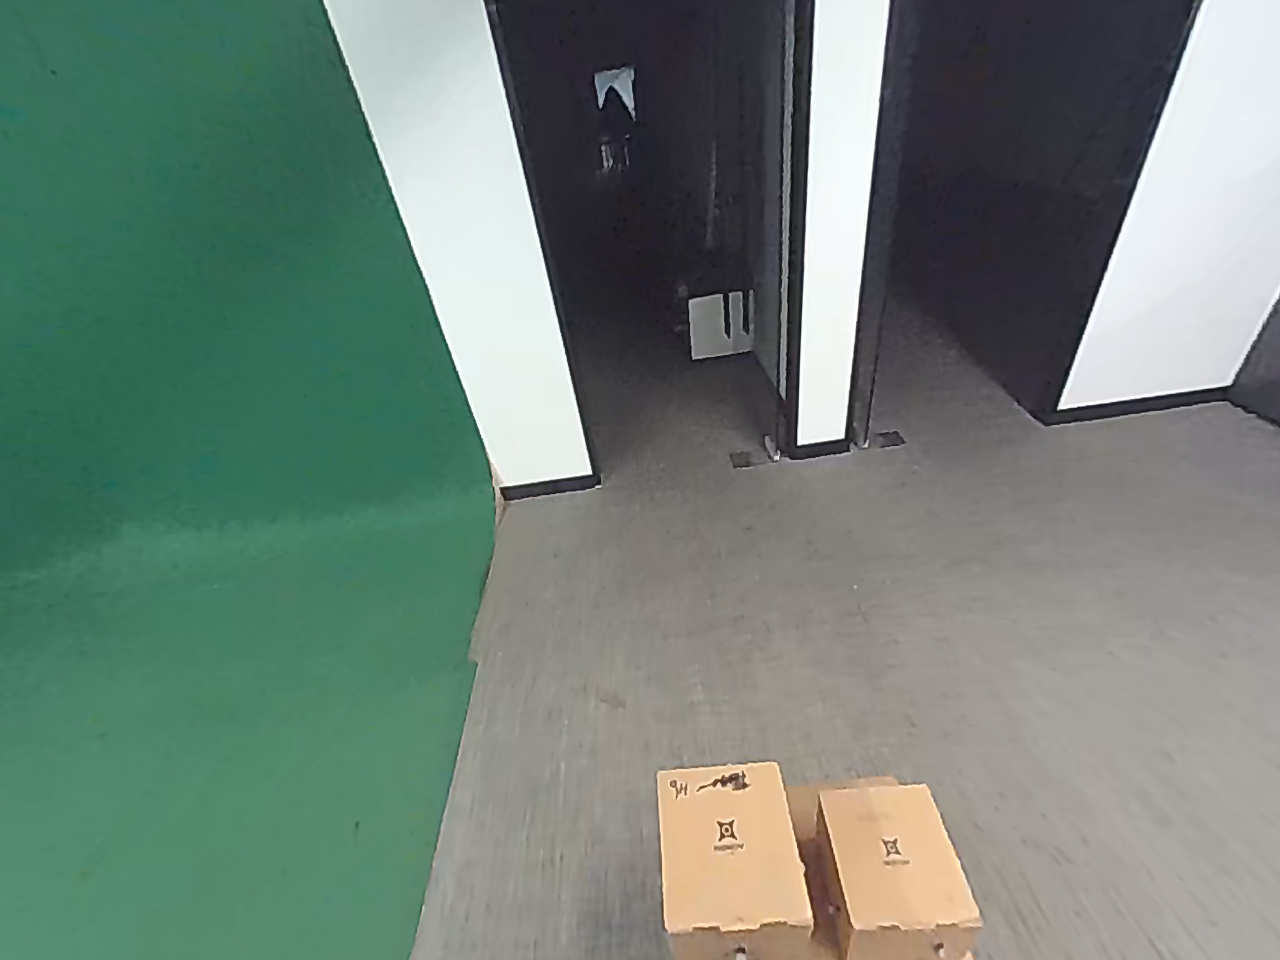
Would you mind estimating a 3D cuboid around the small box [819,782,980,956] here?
[{"bbox_3d":[0.371,0.583,0.808,0.168,0.176,0.179,-7,35,6],"label":"small box"}]

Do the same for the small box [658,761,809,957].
[{"bbox_3d":[0.116,0.498,0.708,0.168,0.176,0.179,-6,38,4],"label":"small box"}]
